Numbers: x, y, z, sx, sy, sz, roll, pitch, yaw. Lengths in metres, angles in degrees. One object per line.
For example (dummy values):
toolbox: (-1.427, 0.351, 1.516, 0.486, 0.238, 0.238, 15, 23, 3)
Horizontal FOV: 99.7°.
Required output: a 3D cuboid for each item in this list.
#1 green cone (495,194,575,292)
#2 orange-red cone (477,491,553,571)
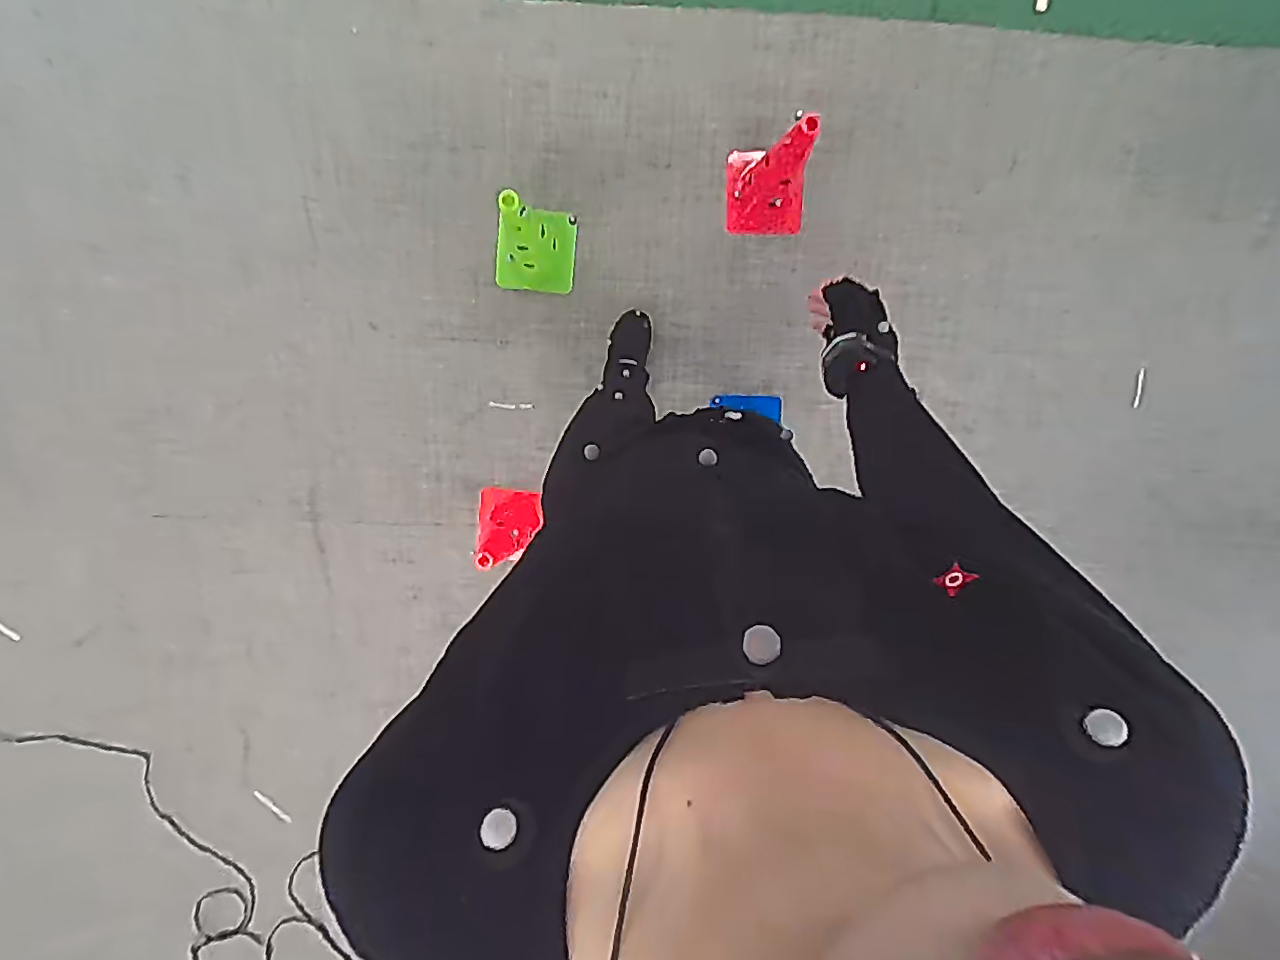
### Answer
green cone: (-0.267, -0.568, 1.225, 0.200, 0.368, 0.202, 4, 99, -2)
orange-red cone: (-0.336, 0.154, 1.325, 0.198, 0.360, 0.199, 6, 96, -4)
